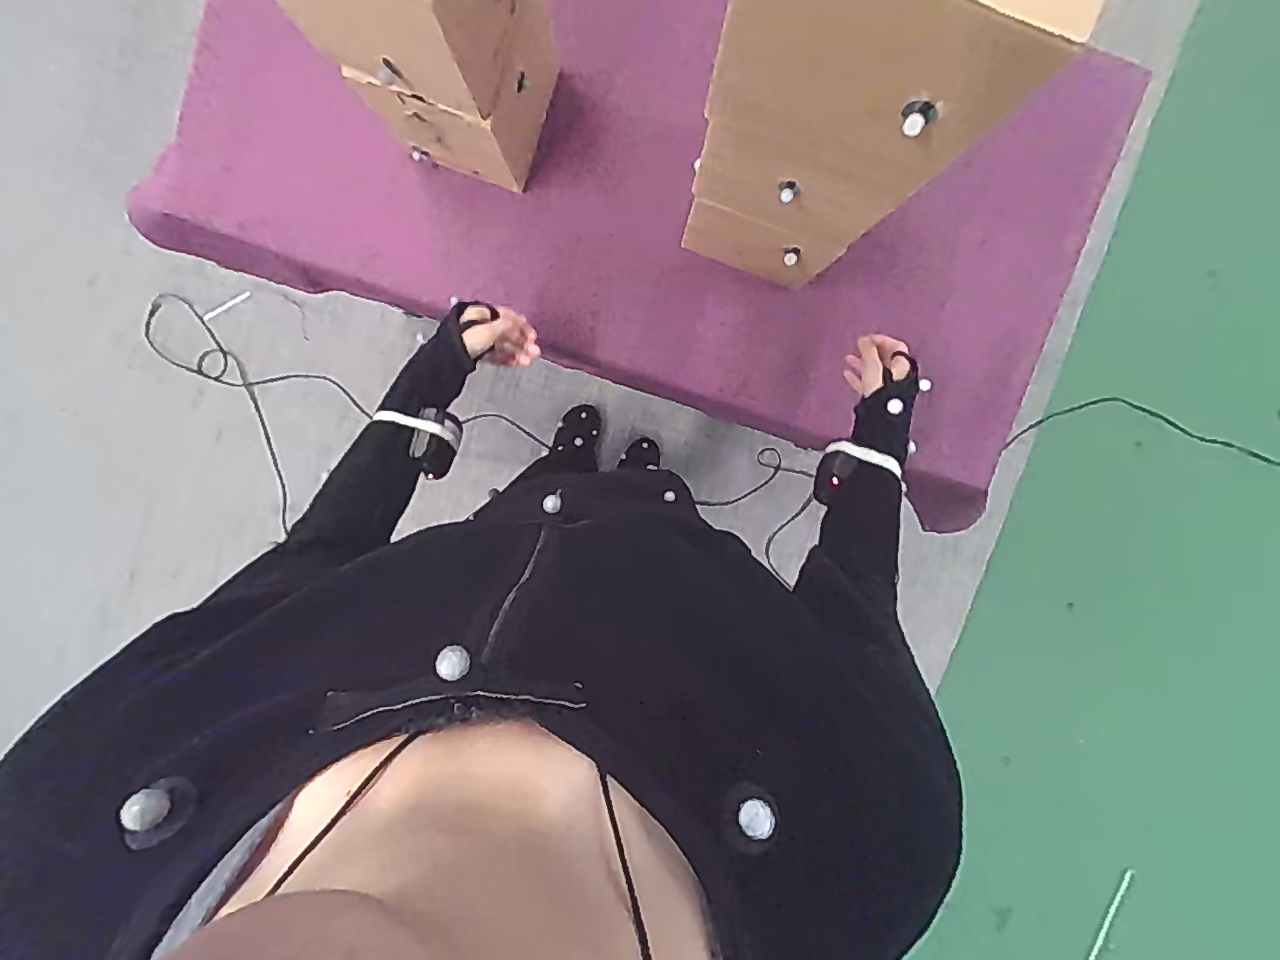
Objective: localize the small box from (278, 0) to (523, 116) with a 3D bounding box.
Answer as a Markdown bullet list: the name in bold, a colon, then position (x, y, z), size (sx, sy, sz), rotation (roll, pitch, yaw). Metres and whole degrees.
- **small box**: position (-0.211, -0.466, 0.476), size (0.179, 0.176, 0.168), rotation (19, 95, -4)

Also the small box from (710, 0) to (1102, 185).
- **small box**: position (0.159, -0.316, 0.333), size (0.179, 0.176, 0.168), rotation (19, 94, -2)

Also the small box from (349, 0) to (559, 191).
- **small box**: position (-0.203, -0.481, 0.640), size (0.168, 0.176, 0.179), rotation (18, 94, -3)

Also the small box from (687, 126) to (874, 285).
- **small box**: position (0.170, -0.356, 0.659), size (0.179, 0.176, 0.168), rotation (19, 95, -3)
